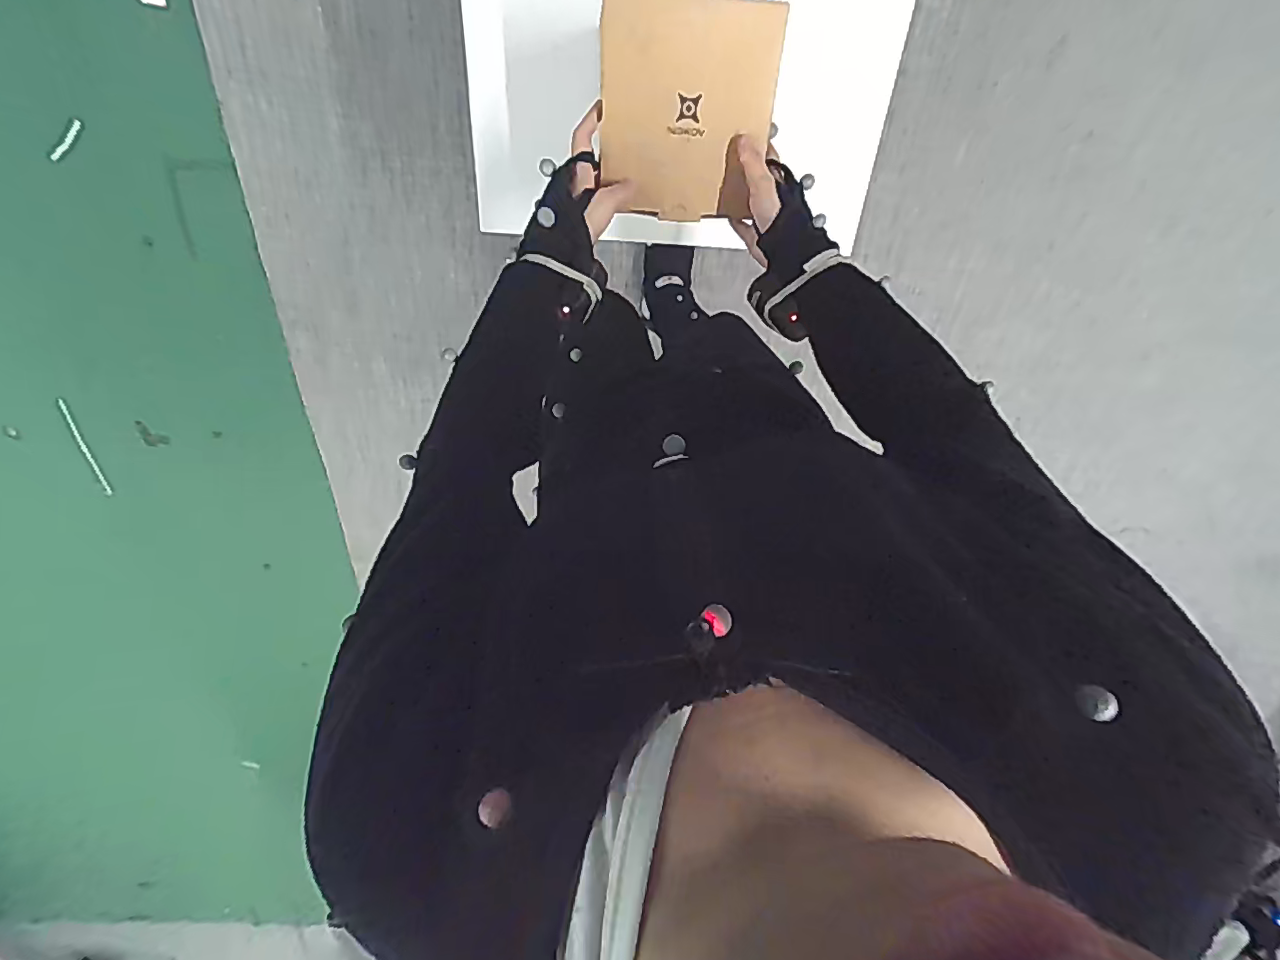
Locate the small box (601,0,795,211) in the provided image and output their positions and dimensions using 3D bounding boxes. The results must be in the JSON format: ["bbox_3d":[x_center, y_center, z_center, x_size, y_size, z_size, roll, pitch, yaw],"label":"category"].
[{"bbox_3d":[0.043,-0.392,0.568,0.168,0.176,0.179,0,123,-5],"label":"small box"}]

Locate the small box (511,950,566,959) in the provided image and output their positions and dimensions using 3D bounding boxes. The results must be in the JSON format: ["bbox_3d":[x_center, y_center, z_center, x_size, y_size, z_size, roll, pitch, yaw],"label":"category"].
[{"bbox_3d":[-0.309,1.547,1.621,0.168,0.176,0.179,1,123,-3],"label":"small box"}]
